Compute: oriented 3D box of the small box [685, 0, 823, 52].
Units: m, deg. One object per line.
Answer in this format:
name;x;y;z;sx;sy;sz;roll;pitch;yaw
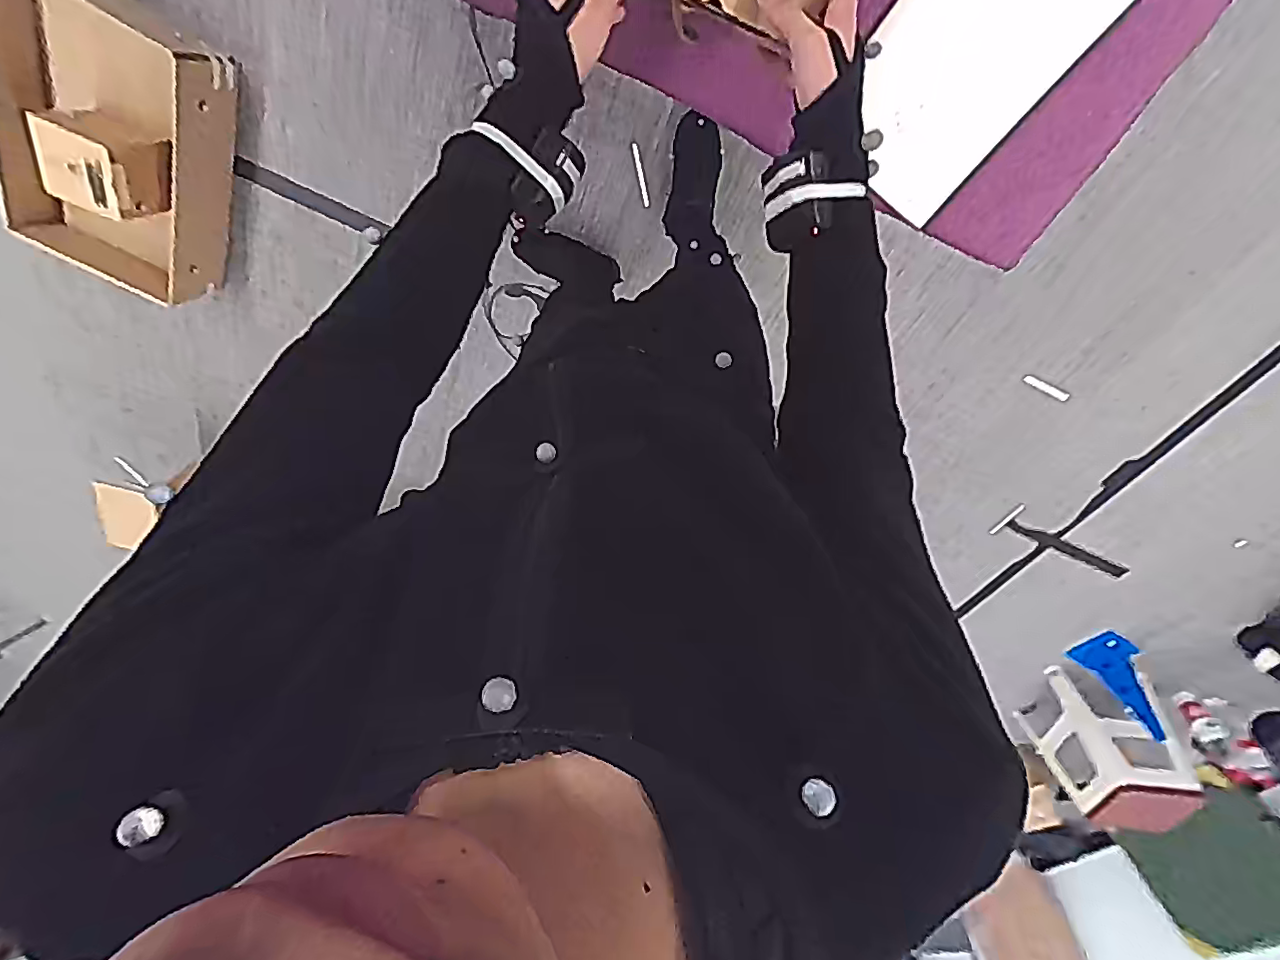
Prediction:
small box;0.078;-0.482;0.424;0.168;0.176;0.179;11;131;-18
